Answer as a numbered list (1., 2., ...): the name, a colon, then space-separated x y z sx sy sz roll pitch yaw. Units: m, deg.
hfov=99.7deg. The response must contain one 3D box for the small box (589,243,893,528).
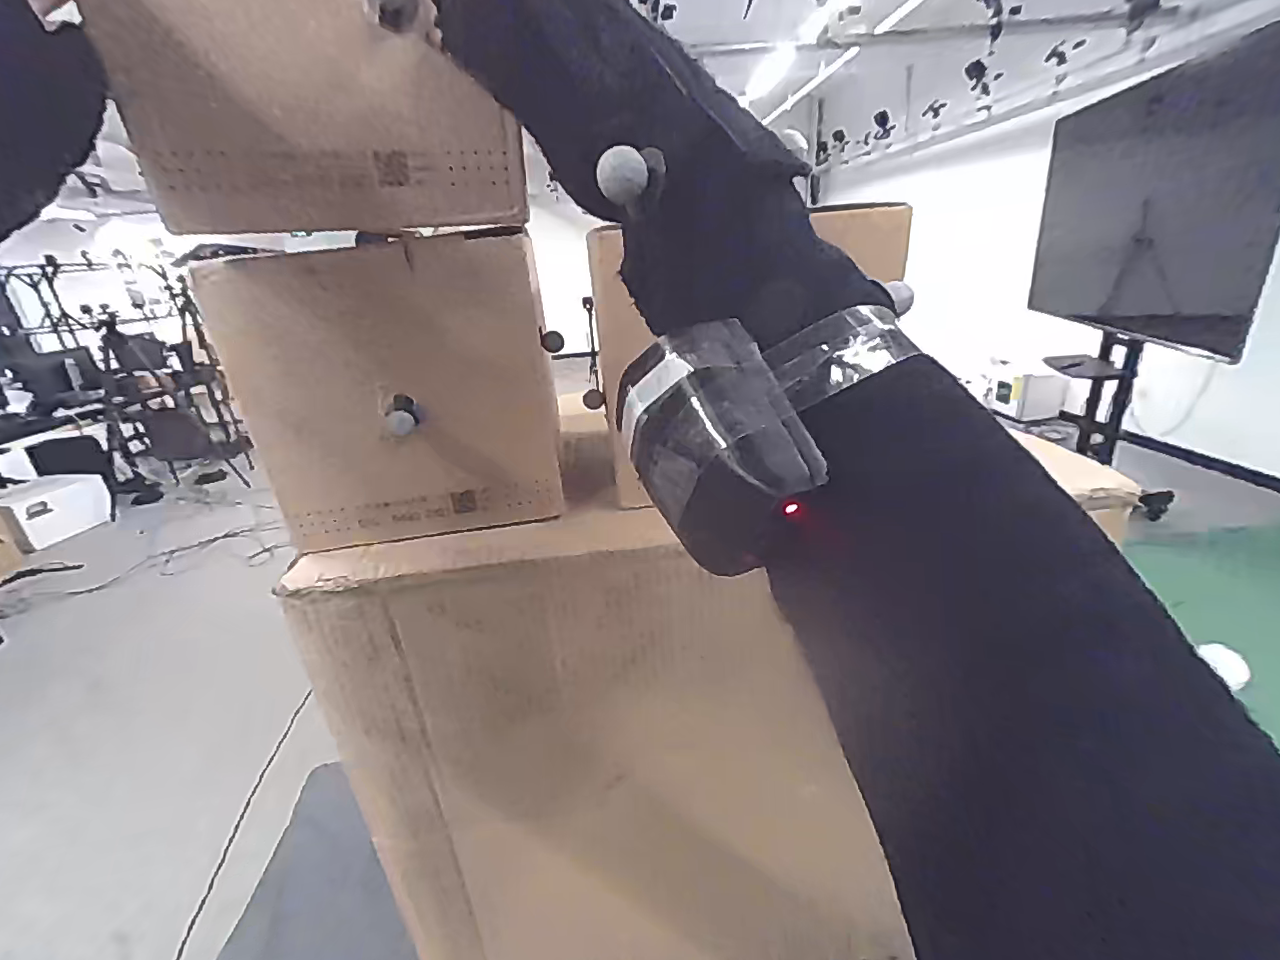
1. small box: 0.057 -0.079 0.405 0.179 0.176 0.168 -6 24 -3

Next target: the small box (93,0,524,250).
1. small box: -0.157 -0.225 0.307 0.168 0.176 0.179 -5 26 -10

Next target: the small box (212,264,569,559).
1. small box: -0.149 -0.055 0.395 0.168 0.176 0.179 -10 24 -8
